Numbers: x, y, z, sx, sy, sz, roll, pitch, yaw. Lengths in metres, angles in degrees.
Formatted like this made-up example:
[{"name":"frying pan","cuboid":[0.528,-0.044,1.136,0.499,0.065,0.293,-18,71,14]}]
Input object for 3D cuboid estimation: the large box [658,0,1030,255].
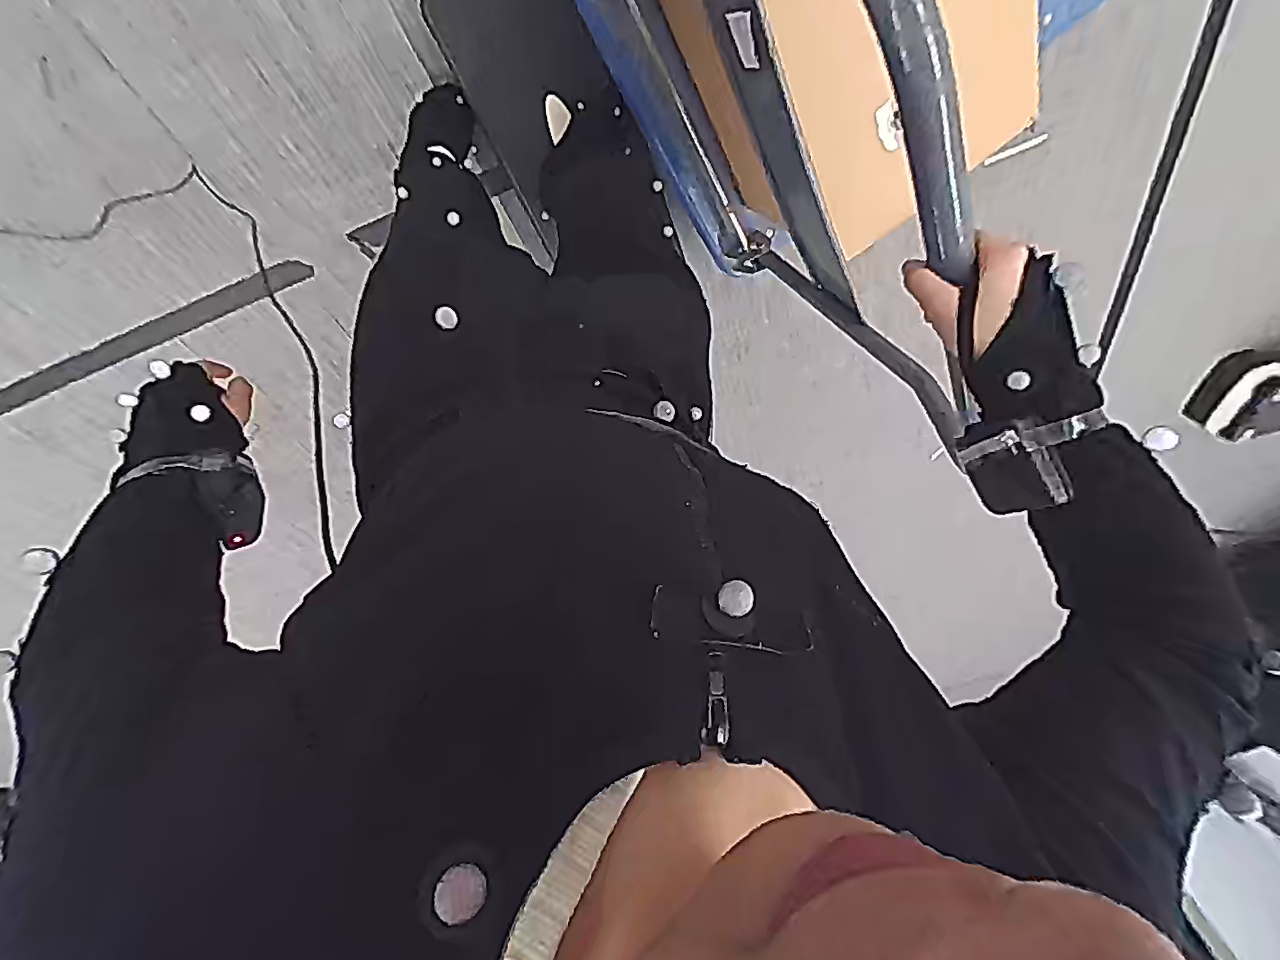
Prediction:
[{"name":"large box","cuboid":[0.265,-0.608,0.736,0.320,0.320,0.408,-35,134,9]}]
